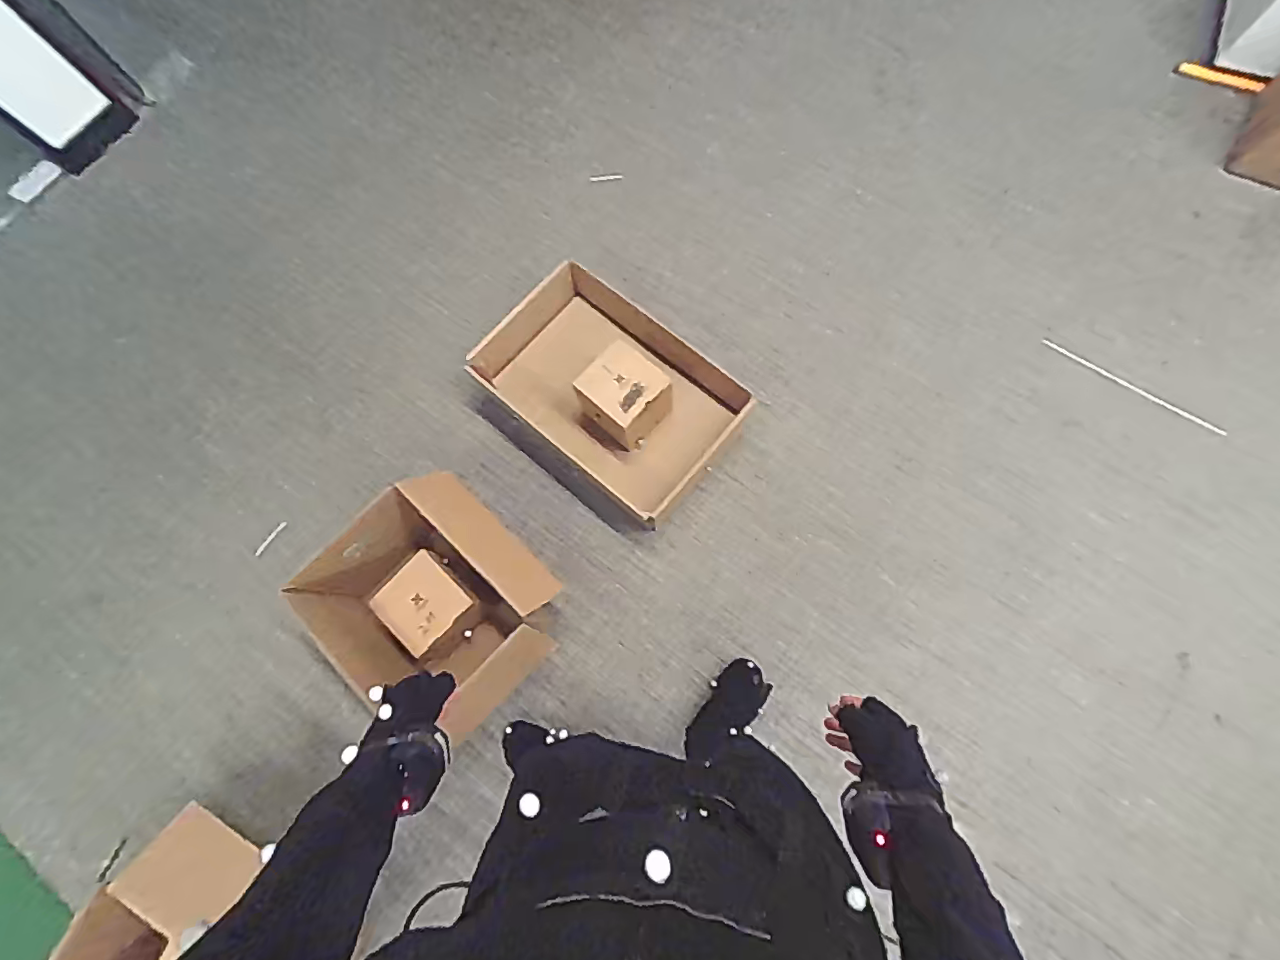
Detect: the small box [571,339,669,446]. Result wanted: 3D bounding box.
[{"bbox_3d":[-0.041,-0.205,1.338,0.179,0.176,0.168,41,80,14],"label":"small box"}]
